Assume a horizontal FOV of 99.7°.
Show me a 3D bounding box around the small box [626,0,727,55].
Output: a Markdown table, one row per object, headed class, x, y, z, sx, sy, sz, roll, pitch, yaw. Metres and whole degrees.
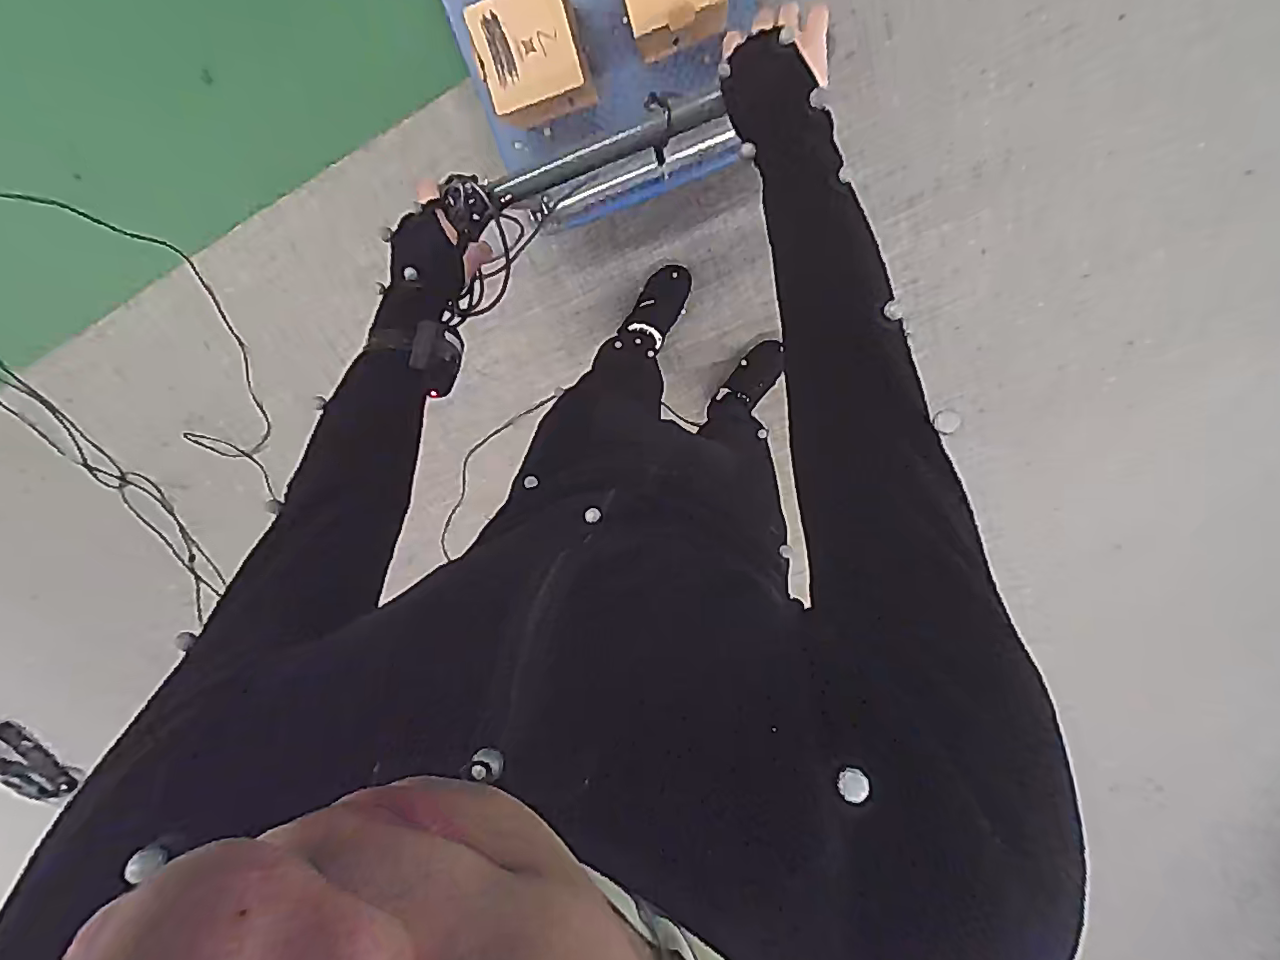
| class | x | y | z | sx | sy | sz | roll | pitch | yaw |
| --- | --- | --- | --- | --- | --- | --- | --- | --- | --- |
| small box | 0.049 | -0.892 | 0.945 | 0.168 | 0.176 | 0.179 | -15 | 115 | 13 |
